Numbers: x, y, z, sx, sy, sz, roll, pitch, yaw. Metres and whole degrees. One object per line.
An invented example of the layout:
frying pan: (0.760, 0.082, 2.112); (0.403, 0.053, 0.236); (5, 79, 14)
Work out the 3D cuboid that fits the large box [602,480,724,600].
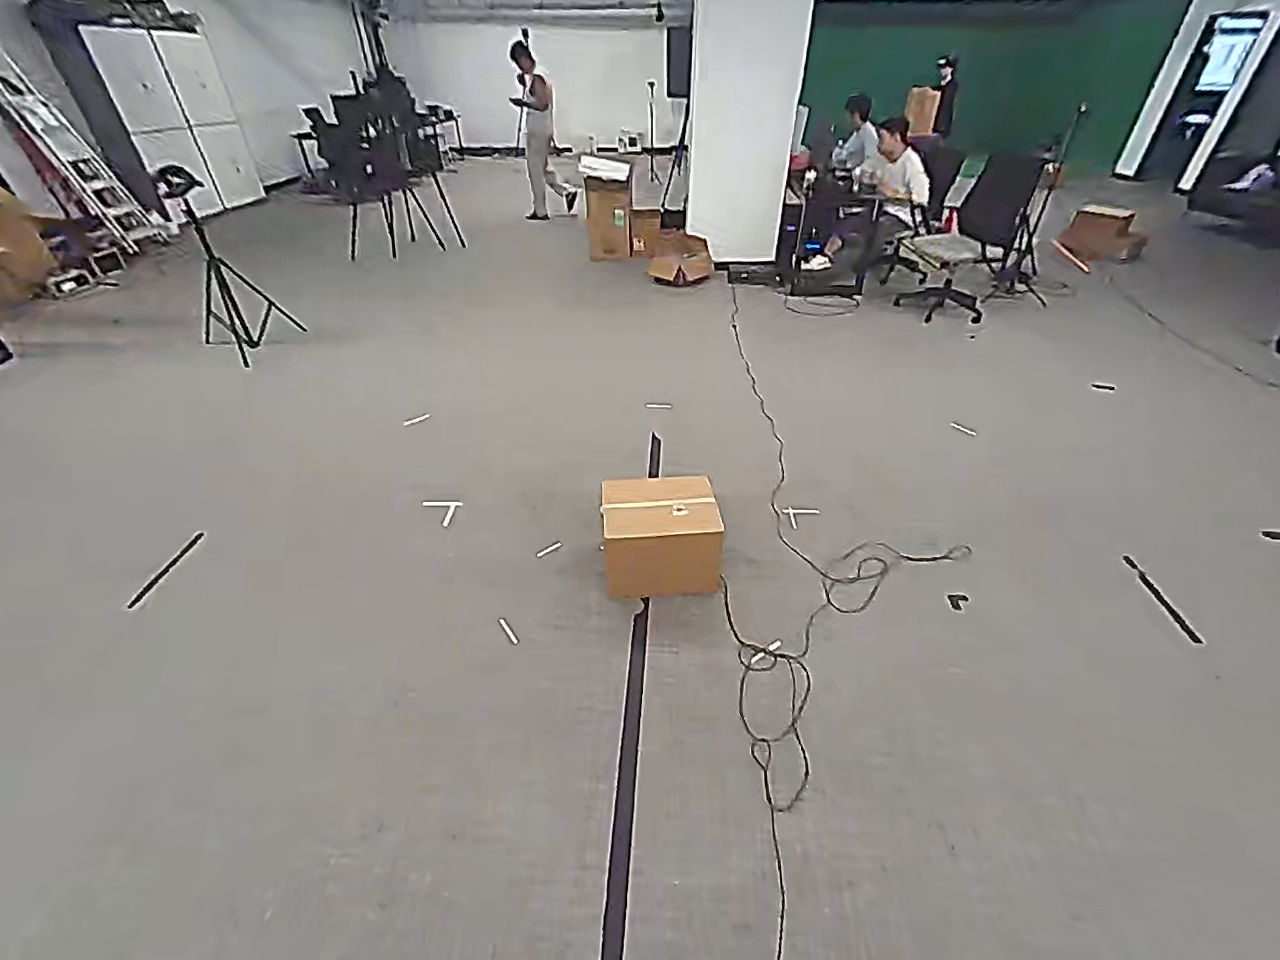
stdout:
large box: (0.070, 0.217, 1.999); (0.408, 0.320, 0.320); (-2, 37, -4)
